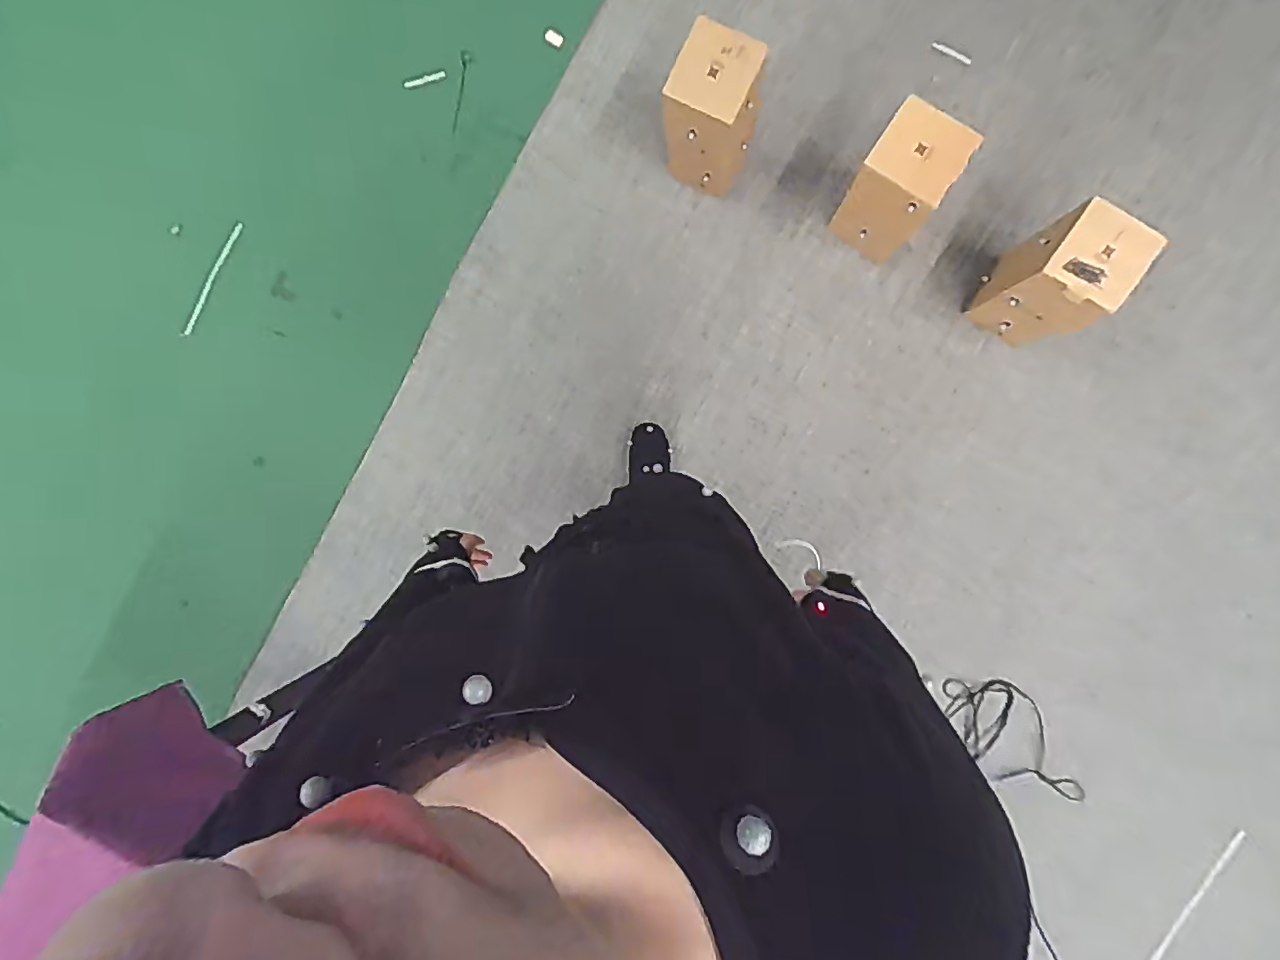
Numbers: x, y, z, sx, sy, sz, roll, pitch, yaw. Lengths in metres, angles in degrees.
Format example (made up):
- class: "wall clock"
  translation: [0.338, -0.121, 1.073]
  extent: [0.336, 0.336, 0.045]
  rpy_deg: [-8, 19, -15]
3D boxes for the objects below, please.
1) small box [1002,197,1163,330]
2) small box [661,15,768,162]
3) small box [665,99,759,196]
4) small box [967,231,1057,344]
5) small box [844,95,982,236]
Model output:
- class: "small box"
  translation: [0.913, -0.443, 1.140]
  extent: [0.168, 0.176, 0.179]
  rpy_deg: [34, 94, 3]
- class: "small box"
  translation: [0.161, -0.850, 1.197]
  extent: [0.168, 0.176, 0.179]
  rpy_deg: [28, 94, 2]
- class: "small box"
  translation: [0.179, -0.859, 1.360]
  extent: [0.168, 0.176, 0.179]
  rpy_deg: [29, 94, 3]
- class: "small box"
  translation: [0.932, -0.453, 1.304]
  extent: [0.168, 0.176, 0.179]
  rpy_deg: [33, 95, 3]
- class: "small box"
  translation: [0.573, -0.663, 1.165]
  extent: [0.179, 0.176, 0.168]
  rpy_deg: [34, 94, 3]
